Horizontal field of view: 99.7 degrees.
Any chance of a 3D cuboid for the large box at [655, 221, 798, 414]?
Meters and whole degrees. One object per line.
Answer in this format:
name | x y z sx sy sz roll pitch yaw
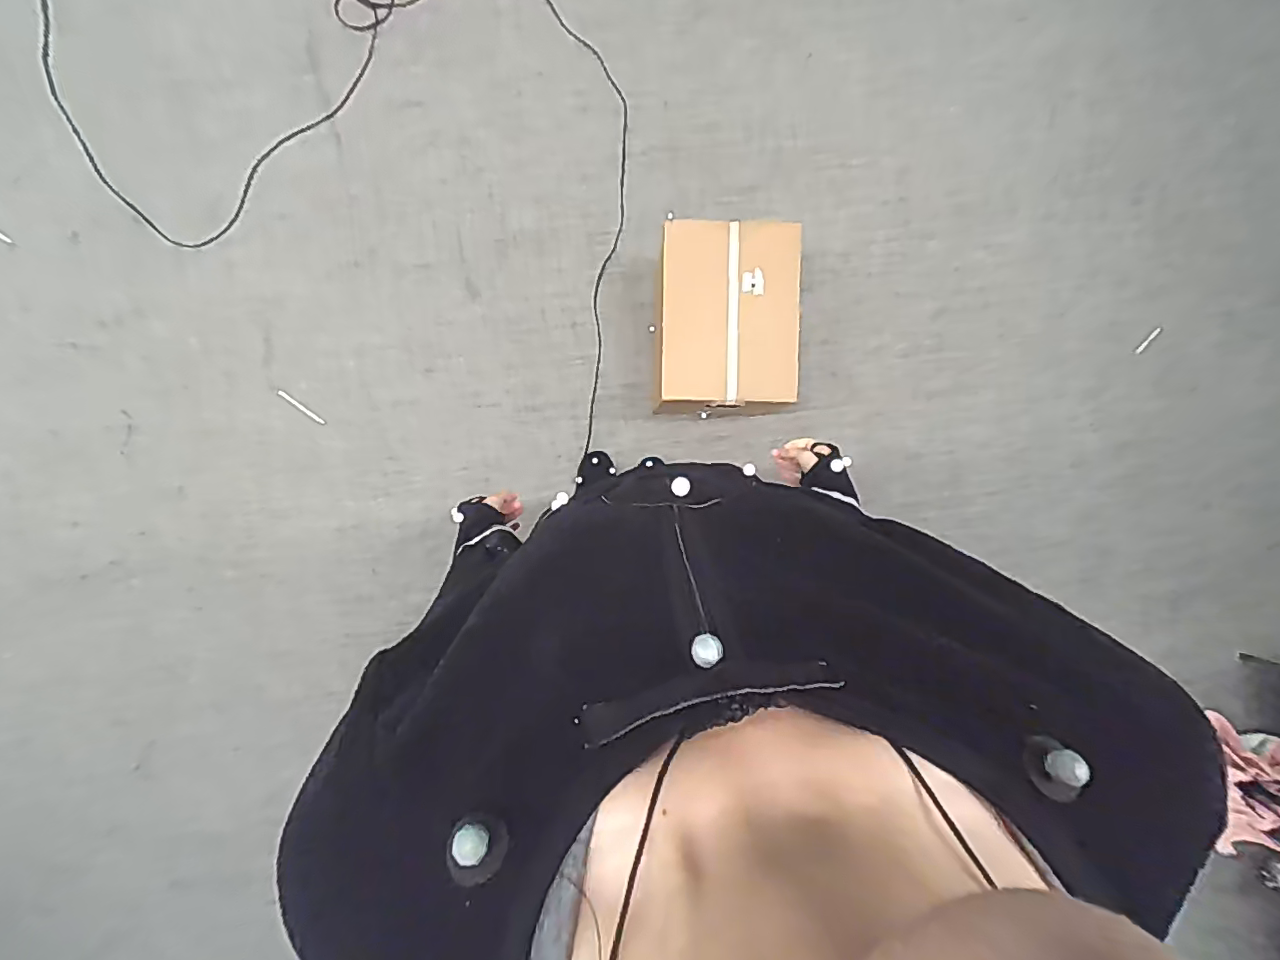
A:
large box | 0.199 -0.383 1.367 0.320 0.320 0.408 1 91 -3
